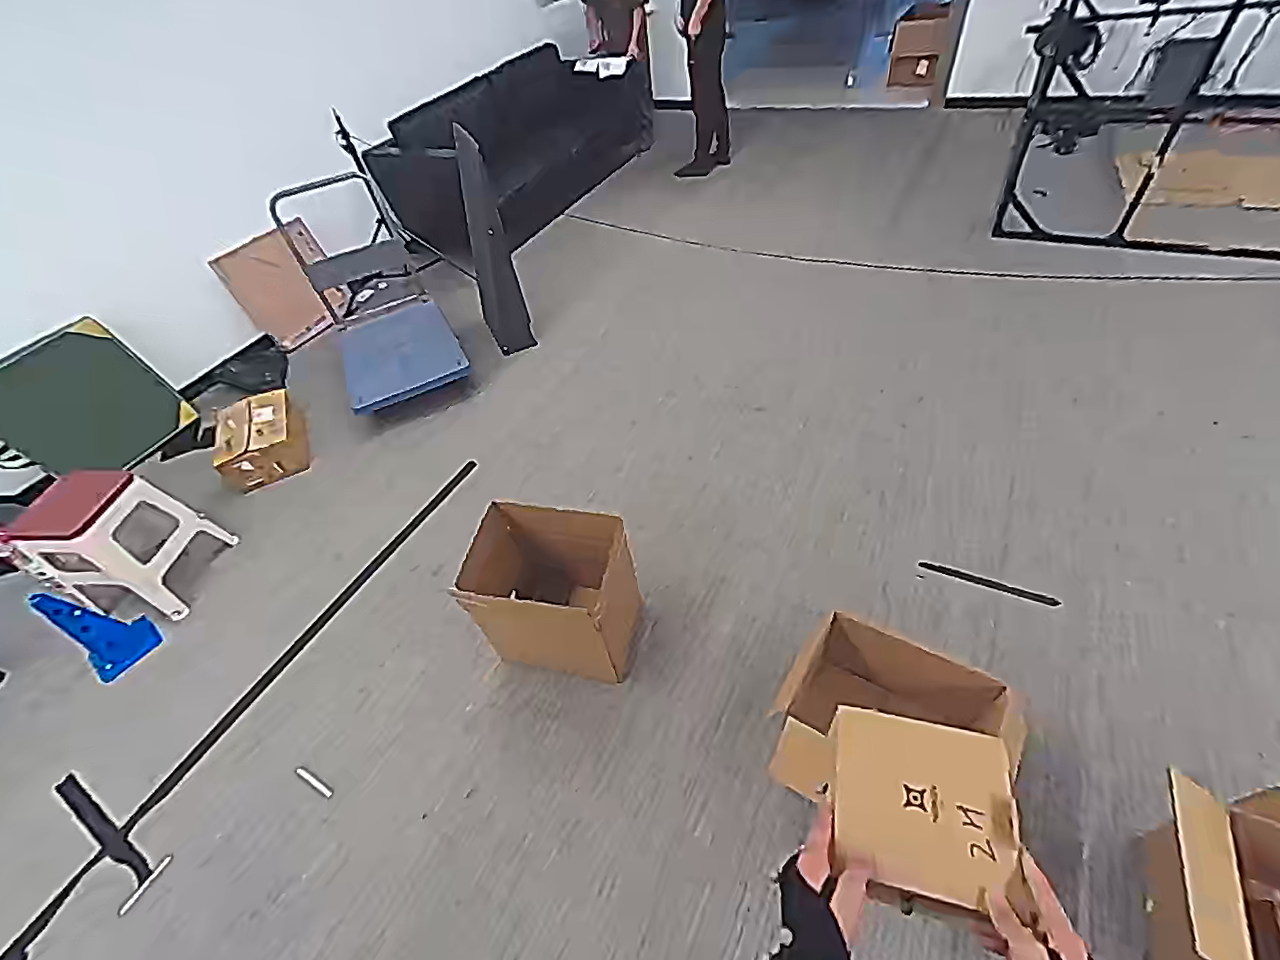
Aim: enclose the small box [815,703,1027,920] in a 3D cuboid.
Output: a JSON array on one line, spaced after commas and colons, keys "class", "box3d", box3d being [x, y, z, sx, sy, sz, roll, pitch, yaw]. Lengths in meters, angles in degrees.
[{"class": "small box", "box3d": [0.301, 0.381, 0.620, 0.179, 0.176, 0.168, 6, 52, 15]}]
